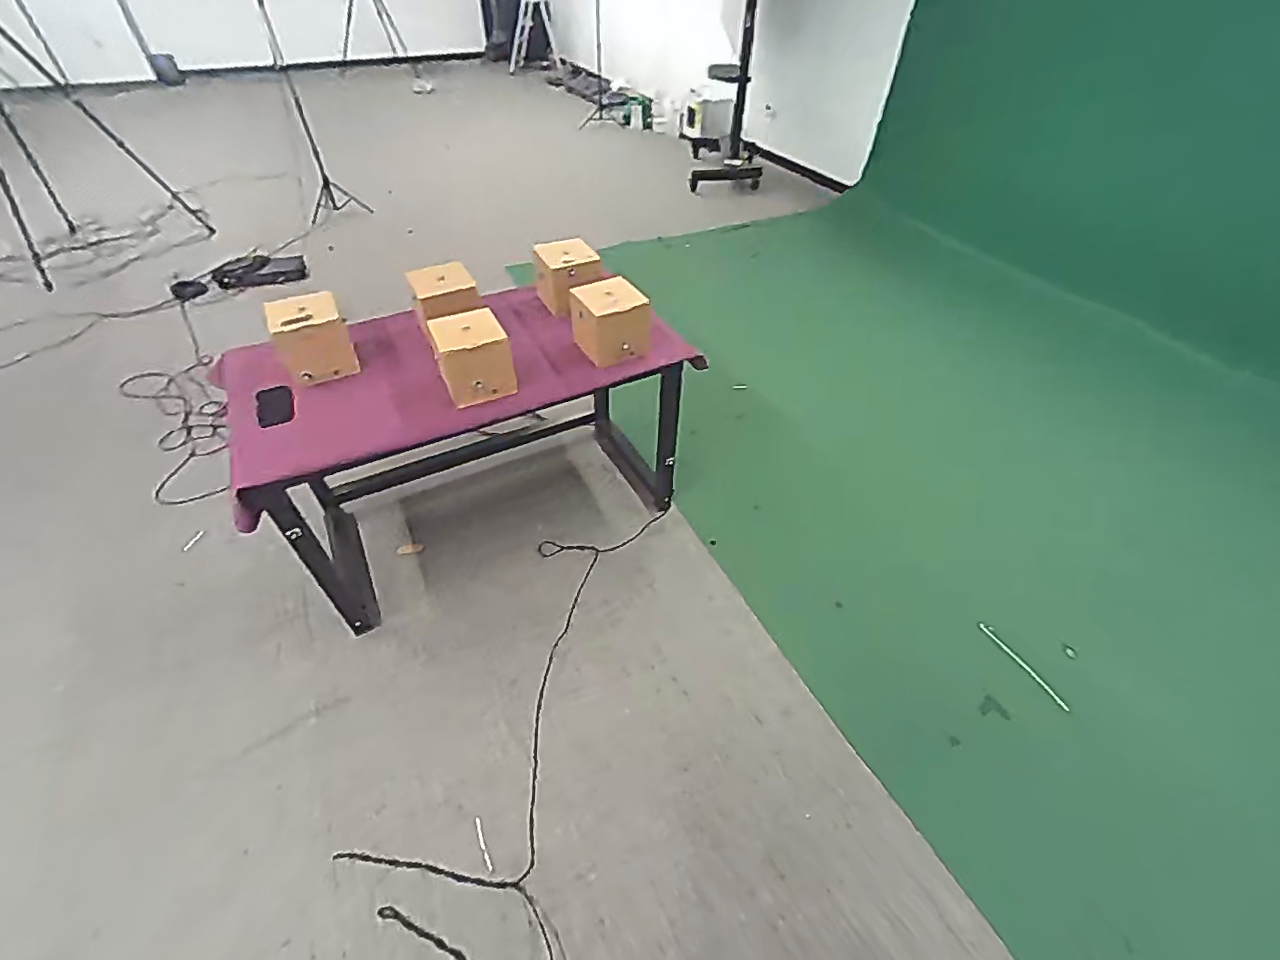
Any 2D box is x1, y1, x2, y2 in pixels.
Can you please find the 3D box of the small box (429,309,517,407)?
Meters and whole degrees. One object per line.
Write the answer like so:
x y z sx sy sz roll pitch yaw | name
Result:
-0.436 -0.321 1.422 0.168 0.176 0.179 -20 49 -19 | small box

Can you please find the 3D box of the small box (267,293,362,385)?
-0.879 -0.377 1.471 0.168 0.176 0.179 -22 50 -20 | small box

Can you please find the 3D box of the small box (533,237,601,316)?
-0.231 -0.654 1.739 0.168 0.176 0.179 -21 50 -18 | small box

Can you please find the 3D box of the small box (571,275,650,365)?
-0.085 -0.458 1.548 0.168 0.176 0.179 -23 51 -19 | small box

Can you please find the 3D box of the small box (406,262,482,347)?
-0.573 -0.520 1.611 0.168 0.176 0.179 -22 51 -19 | small box
